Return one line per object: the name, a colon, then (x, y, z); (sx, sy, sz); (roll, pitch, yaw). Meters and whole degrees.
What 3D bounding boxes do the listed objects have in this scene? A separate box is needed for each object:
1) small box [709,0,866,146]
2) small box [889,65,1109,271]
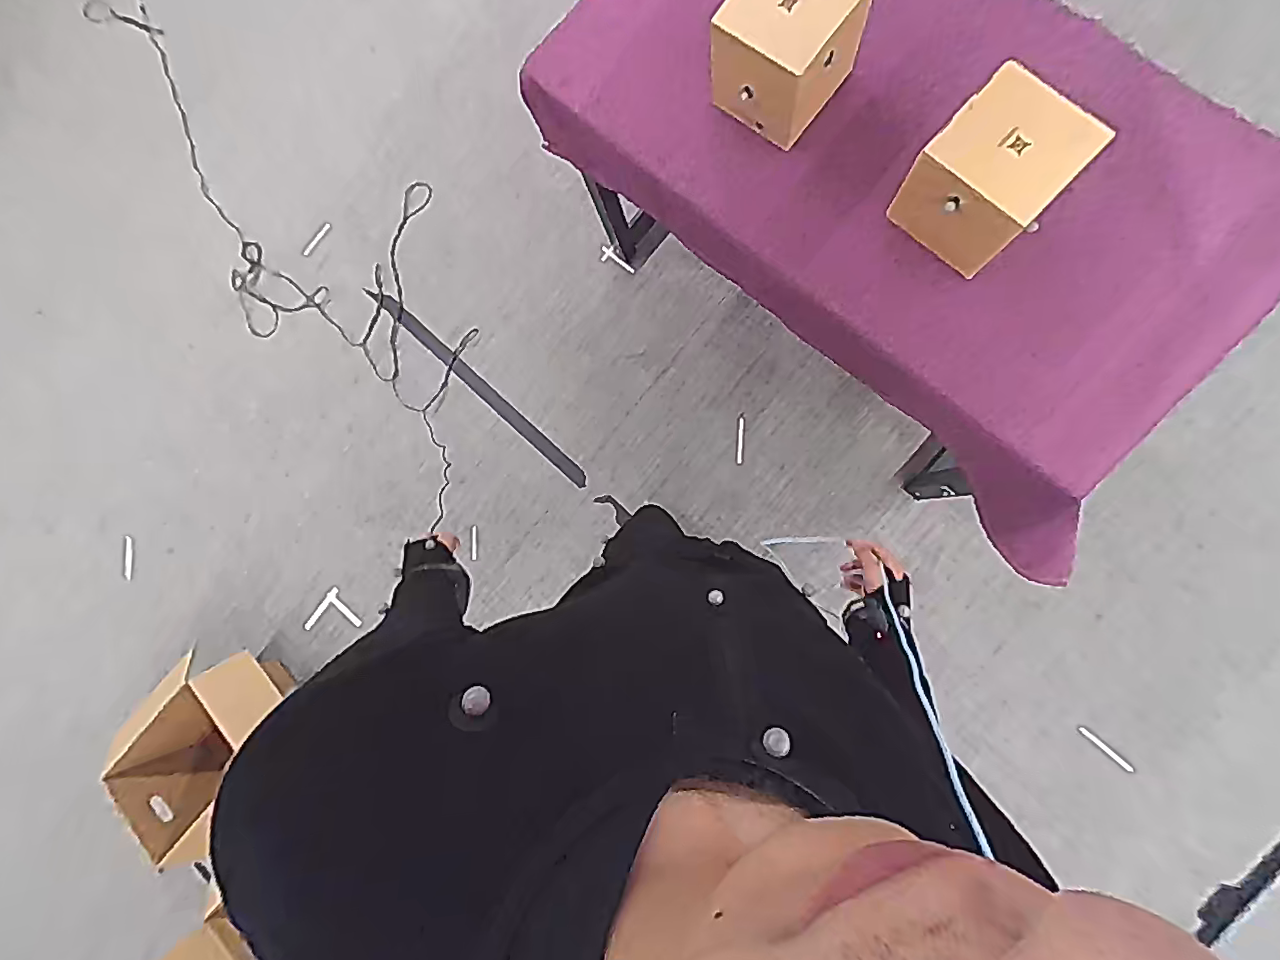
small box: (0.228, -0.683, 0.854); (0.168, 0.176, 0.179); (40, 93, 8)
small box: (0.511, -0.441, 0.801); (0.179, 0.176, 0.168); (44, 94, 9)
